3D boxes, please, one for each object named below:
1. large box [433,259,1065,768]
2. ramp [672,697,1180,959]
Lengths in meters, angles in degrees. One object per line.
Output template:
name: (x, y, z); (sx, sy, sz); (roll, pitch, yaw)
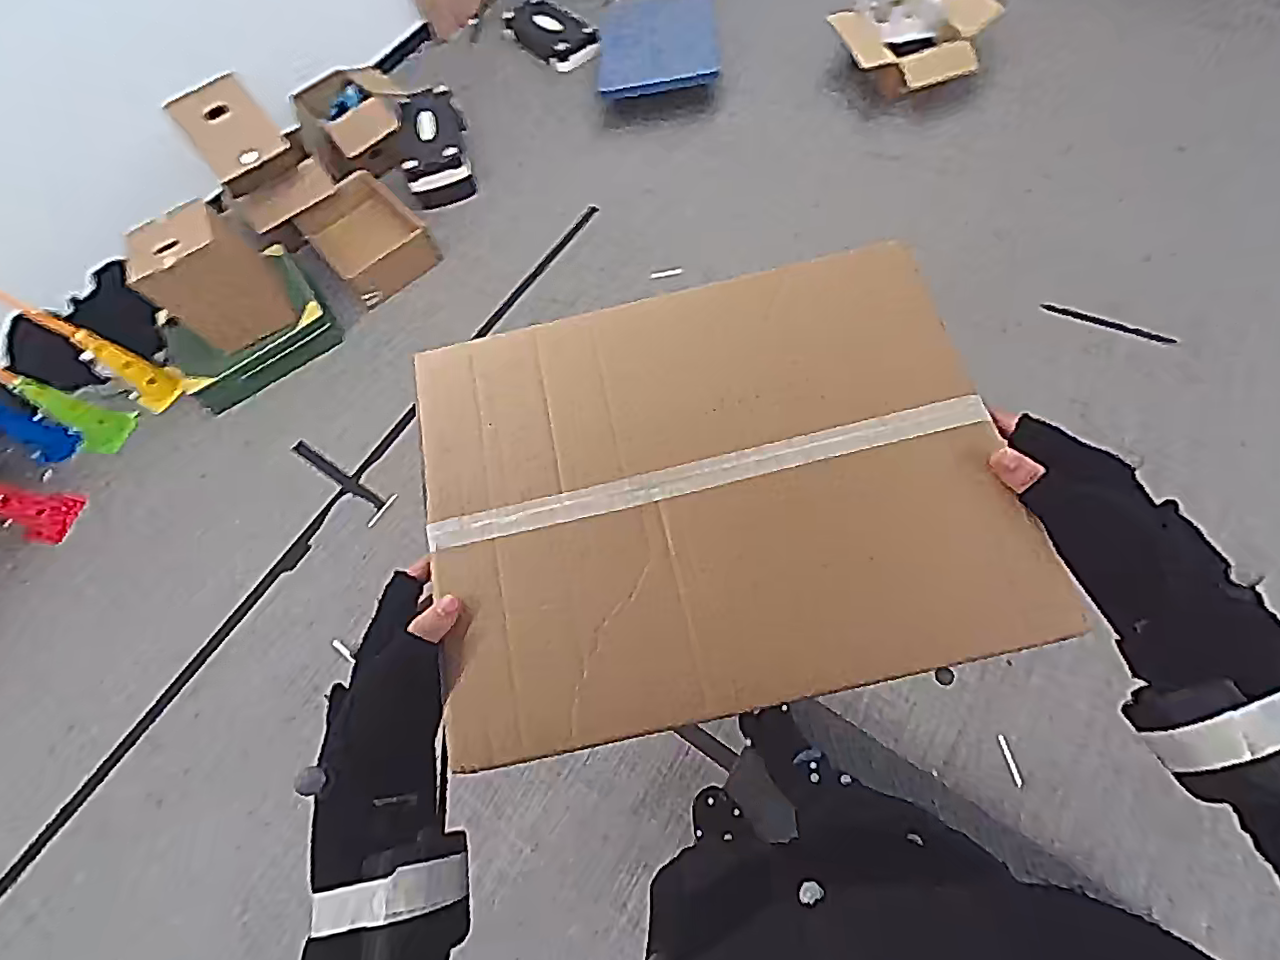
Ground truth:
large box: (0.065, 0.047, 0.536); (0.408, 0.320, 0.320); (-12, 70, 1)
ramp: (0.613, 0.921, 1.174); (0.991, 0.206, 0.509); (27, 70, 19)
